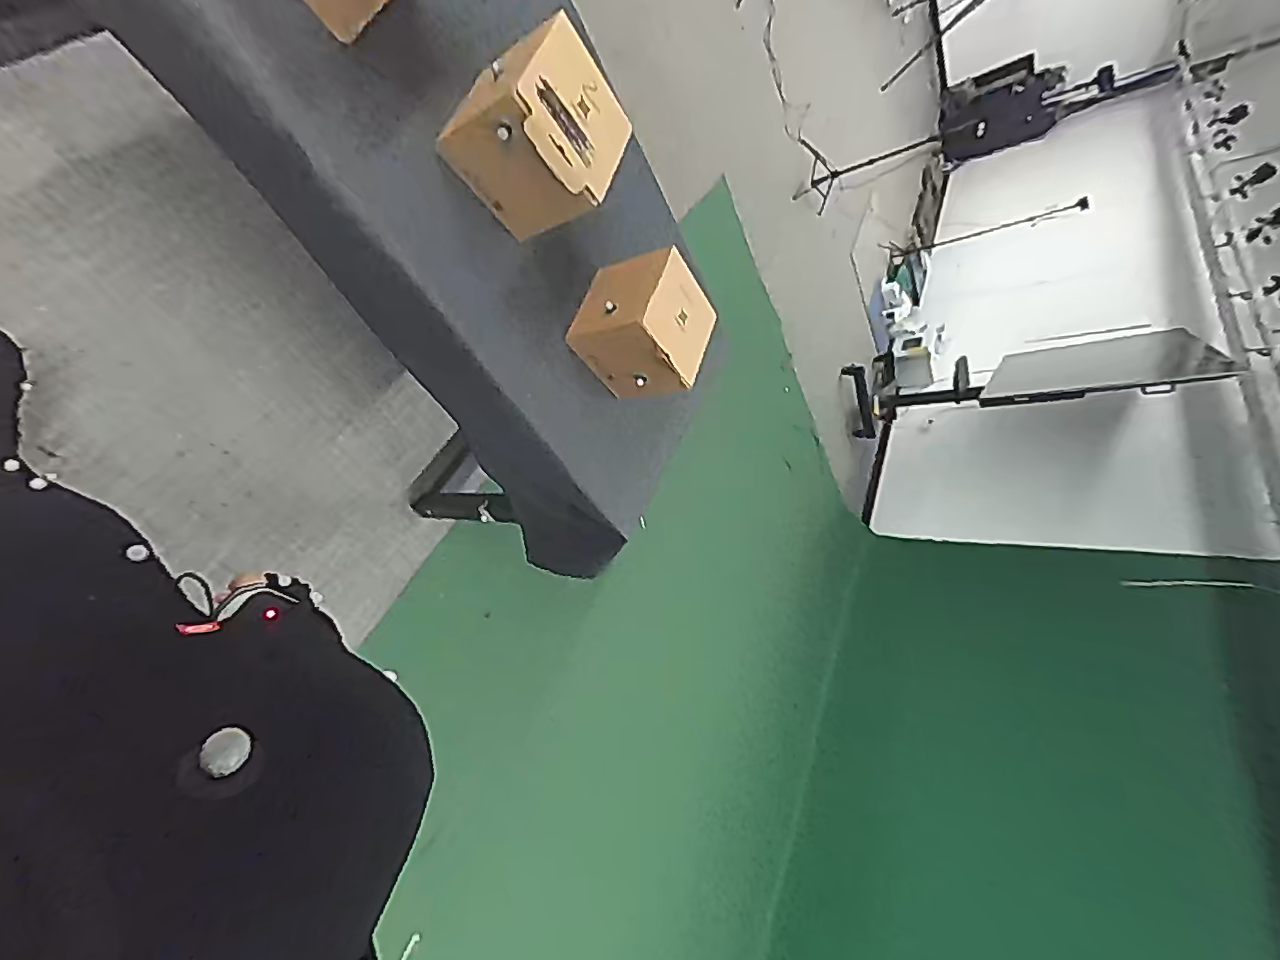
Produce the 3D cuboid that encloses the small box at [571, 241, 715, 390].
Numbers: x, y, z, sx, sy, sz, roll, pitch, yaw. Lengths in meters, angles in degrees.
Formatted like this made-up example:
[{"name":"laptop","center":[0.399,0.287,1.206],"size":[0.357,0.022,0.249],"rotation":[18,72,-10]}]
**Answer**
[{"name":"small box","center":[0.004,-0.275,0.946],"size":[0.168,0.176,0.179],"rotation":[45,55,-44]}]
